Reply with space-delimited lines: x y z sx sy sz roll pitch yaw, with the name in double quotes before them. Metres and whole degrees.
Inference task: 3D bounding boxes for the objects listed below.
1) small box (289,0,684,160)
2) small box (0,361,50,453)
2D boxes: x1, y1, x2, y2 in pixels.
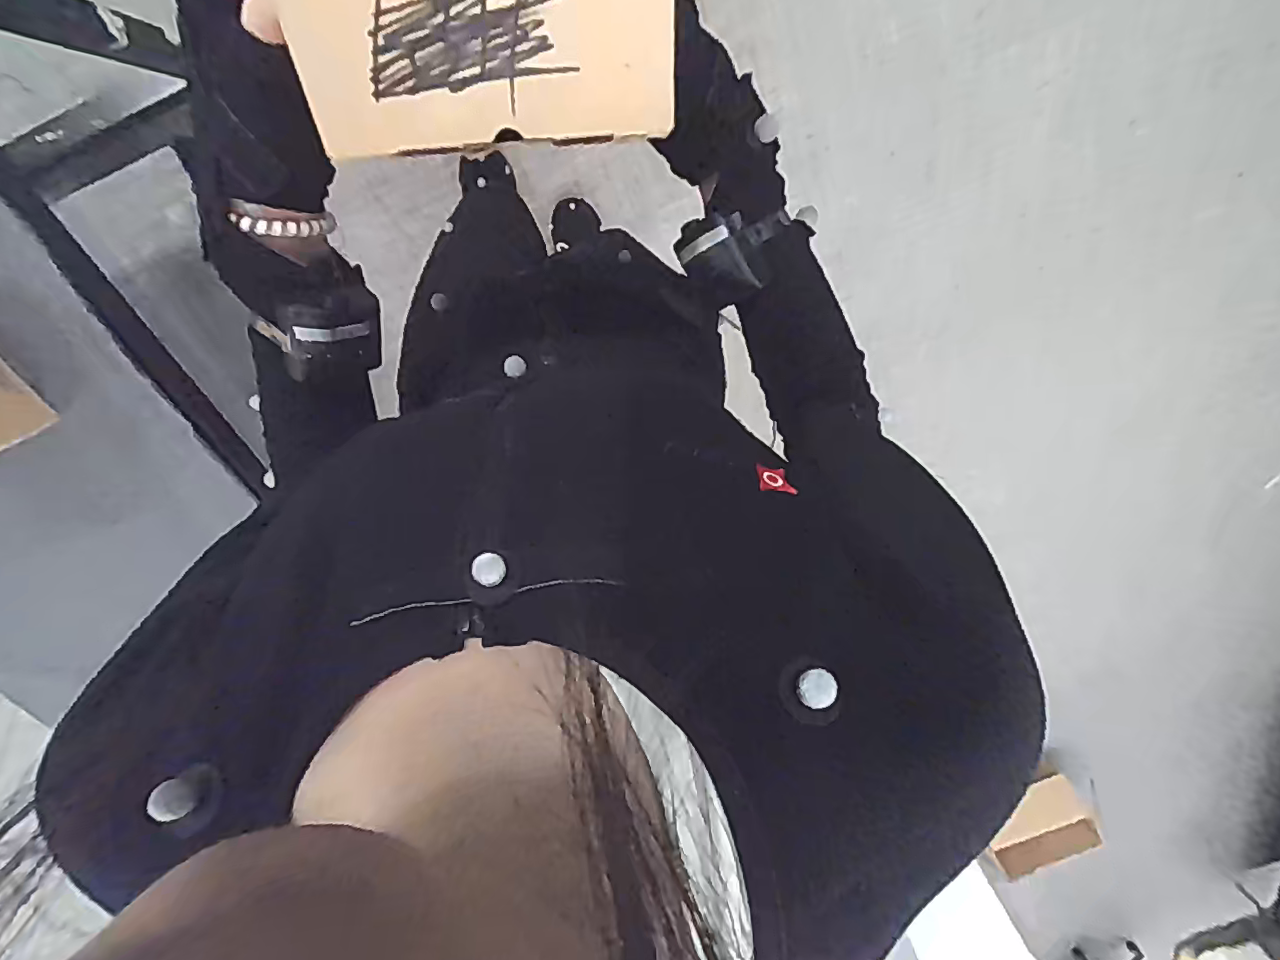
"small box" -0.078 -0.276 0.266 0.168 0.176 0.179 -10 130 -10
"small box" -0.816 -0.067 0.569 0.179 0.176 0.168 -22 119 7
